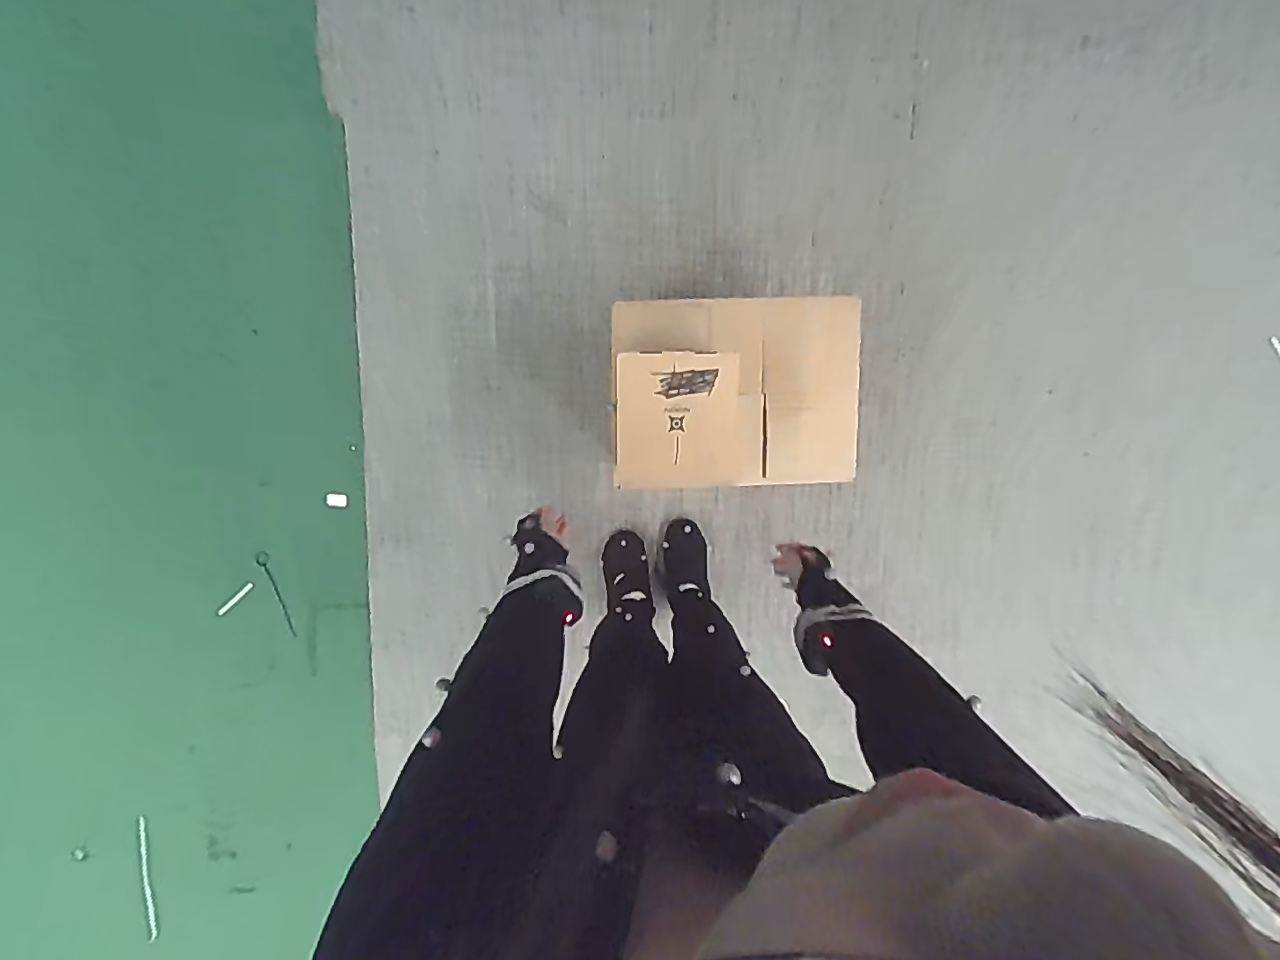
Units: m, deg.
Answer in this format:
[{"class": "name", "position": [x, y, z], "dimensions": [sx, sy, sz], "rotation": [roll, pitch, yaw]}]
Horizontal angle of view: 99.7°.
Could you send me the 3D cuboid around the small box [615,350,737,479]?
[{"class": "small box", "position": [0.046, -0.100, 0.819], "dimensions": [0.168, 0.176, 0.179], "rotation": [0, 100, -1]}]
